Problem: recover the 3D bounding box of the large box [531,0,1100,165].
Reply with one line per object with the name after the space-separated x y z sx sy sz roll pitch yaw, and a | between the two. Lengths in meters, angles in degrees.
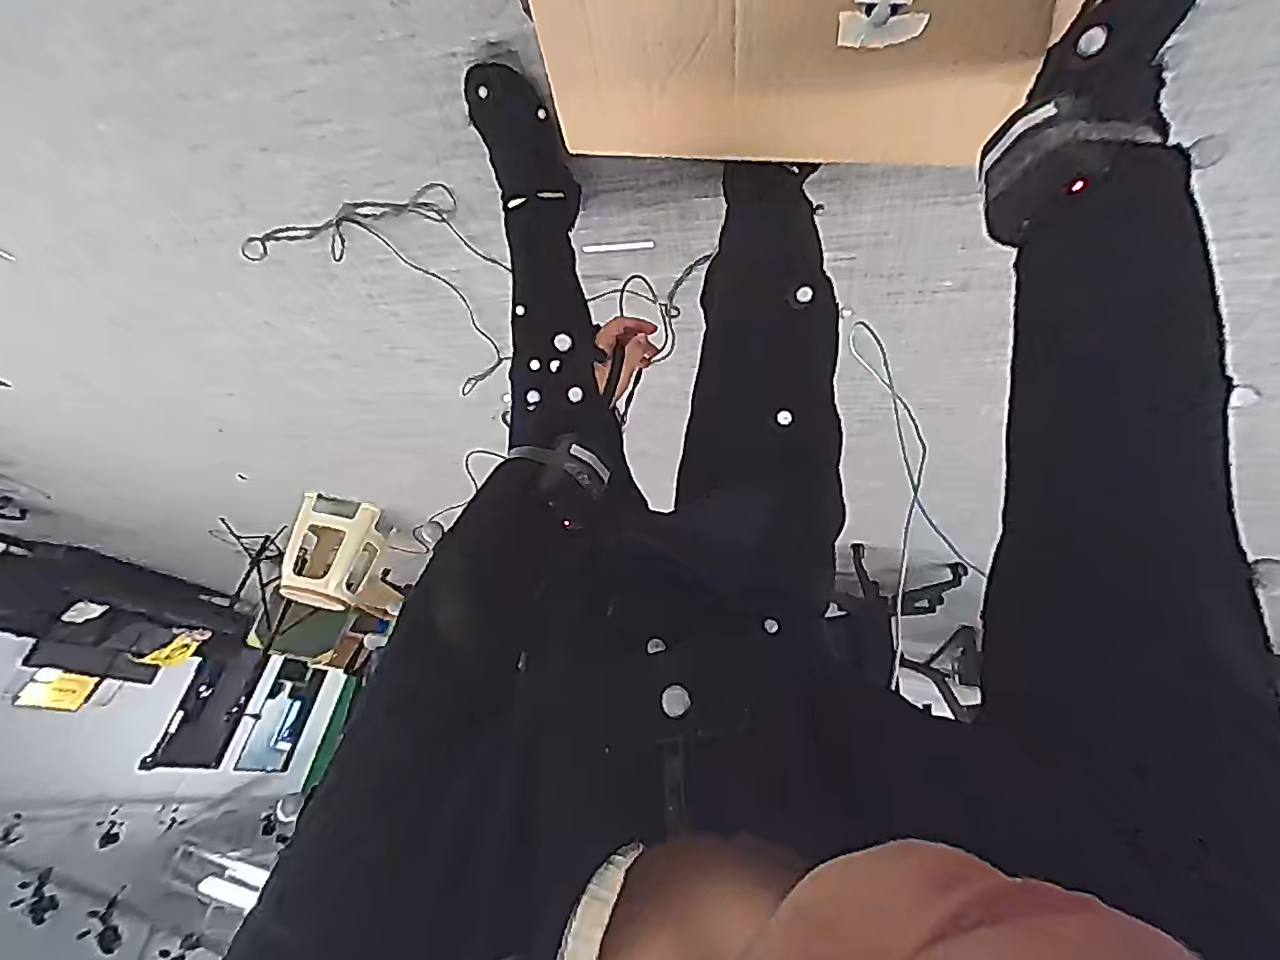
0.138 -0.488 0.424 0.408 0.320 0.320 10 153 14 | large box
